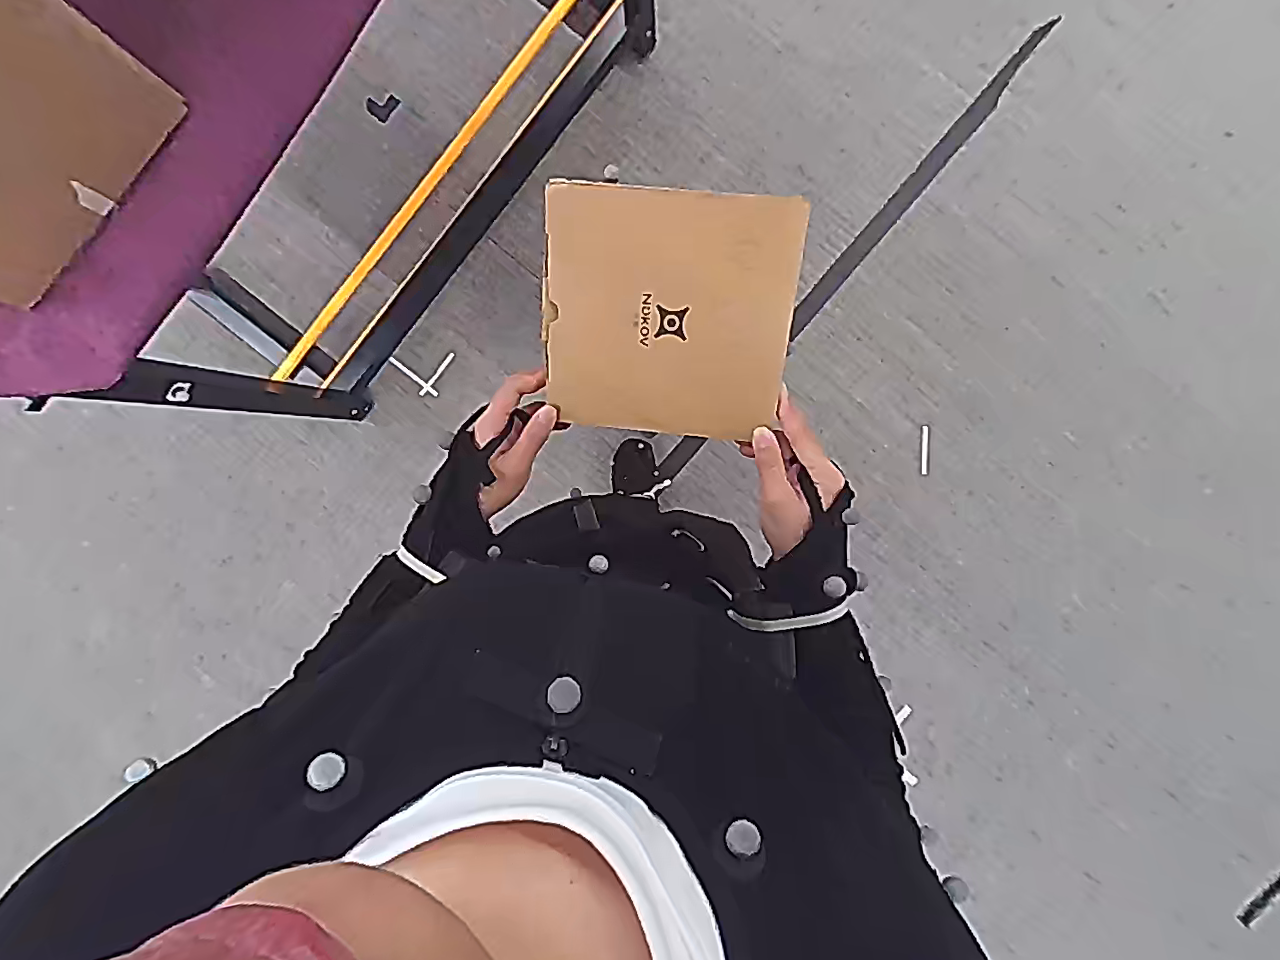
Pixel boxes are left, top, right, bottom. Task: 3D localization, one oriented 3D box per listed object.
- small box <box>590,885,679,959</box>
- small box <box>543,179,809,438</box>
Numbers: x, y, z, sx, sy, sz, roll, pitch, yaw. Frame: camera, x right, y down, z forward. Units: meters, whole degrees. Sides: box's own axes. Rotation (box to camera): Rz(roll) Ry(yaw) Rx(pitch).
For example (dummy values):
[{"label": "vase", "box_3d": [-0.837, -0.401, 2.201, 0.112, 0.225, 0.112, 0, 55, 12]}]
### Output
[{"label": "small box", "box_3d": [-0.018, 1.175, 1.348, 0.168, 0.176, 0.179, 39, 94, 0]}, {"label": "small box", "box_3d": [0.027, -0.145, 0.453, 0.179, 0.176, 0.168, 7, 113, 6]}]
